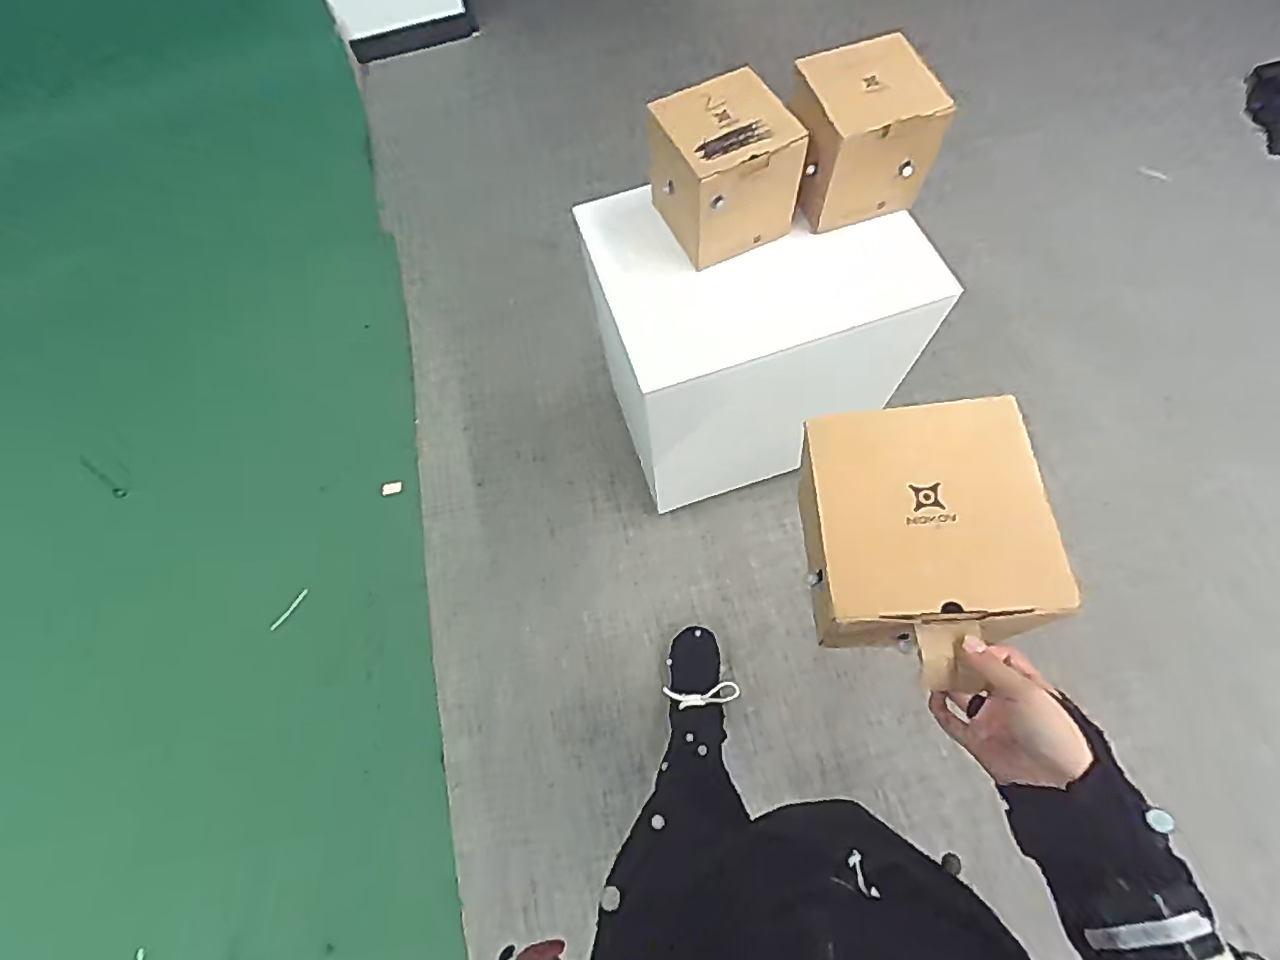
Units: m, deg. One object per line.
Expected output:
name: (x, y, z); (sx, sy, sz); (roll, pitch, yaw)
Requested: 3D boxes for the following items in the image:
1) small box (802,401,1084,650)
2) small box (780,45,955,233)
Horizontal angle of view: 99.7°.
small box: (0.243, 0.052, 0.492); (0.168, 0.176, 0.179); (-5, 65, 12)
small box: (0.332, -0.509, 0.830); (0.168, 0.176, 0.179); (-16, 67, -3)
